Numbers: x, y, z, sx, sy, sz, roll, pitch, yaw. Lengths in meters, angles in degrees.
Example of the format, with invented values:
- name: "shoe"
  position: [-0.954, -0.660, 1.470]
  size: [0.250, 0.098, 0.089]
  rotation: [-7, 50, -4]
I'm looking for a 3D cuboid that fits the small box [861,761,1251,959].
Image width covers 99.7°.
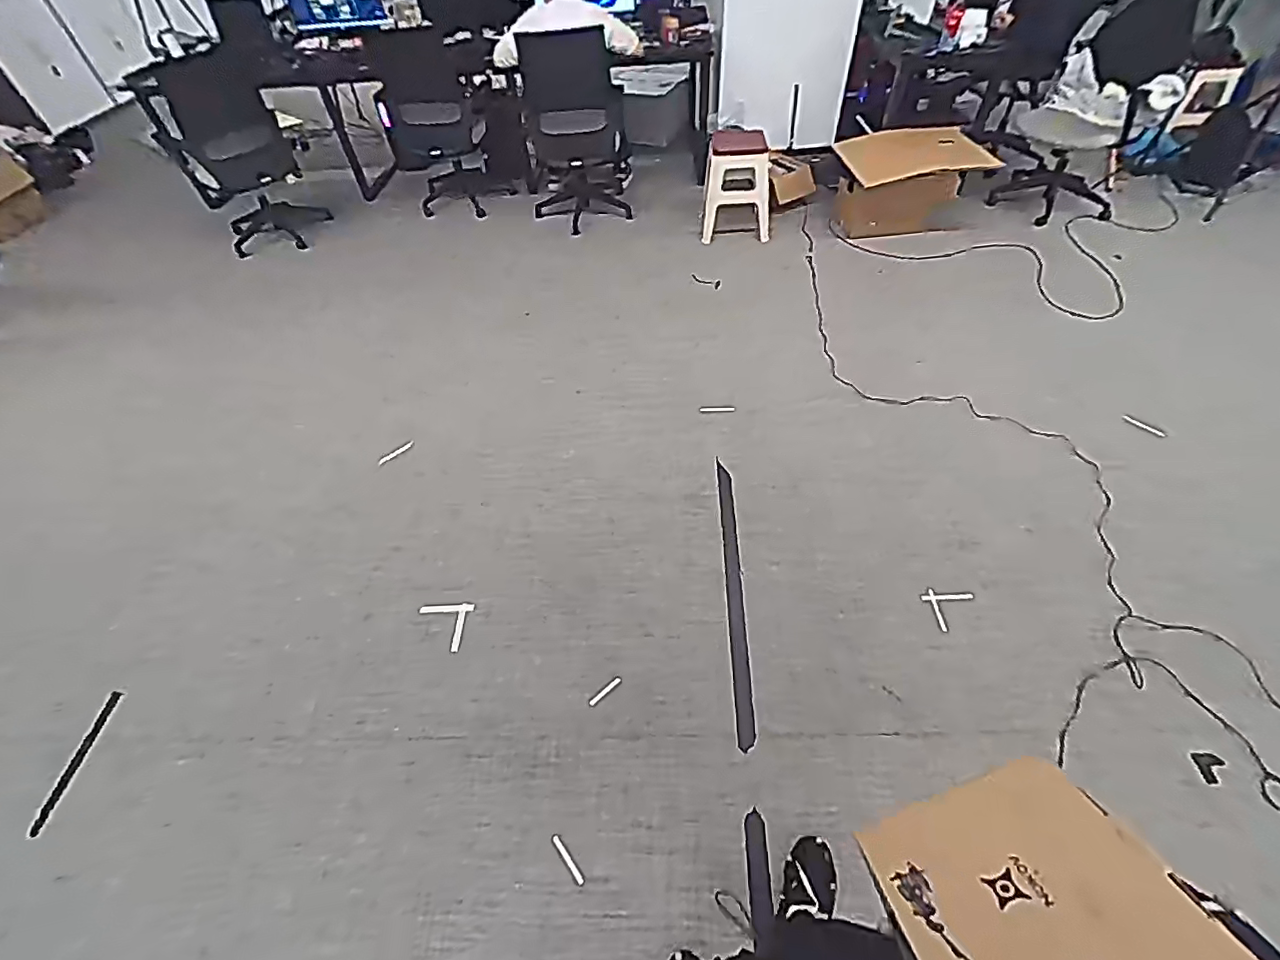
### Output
- name: "small box"
  position: [0.304, 0.365, 0.411]
  size: [0.179, 0.176, 0.168]
  rotation: [-23, 14, 3]
